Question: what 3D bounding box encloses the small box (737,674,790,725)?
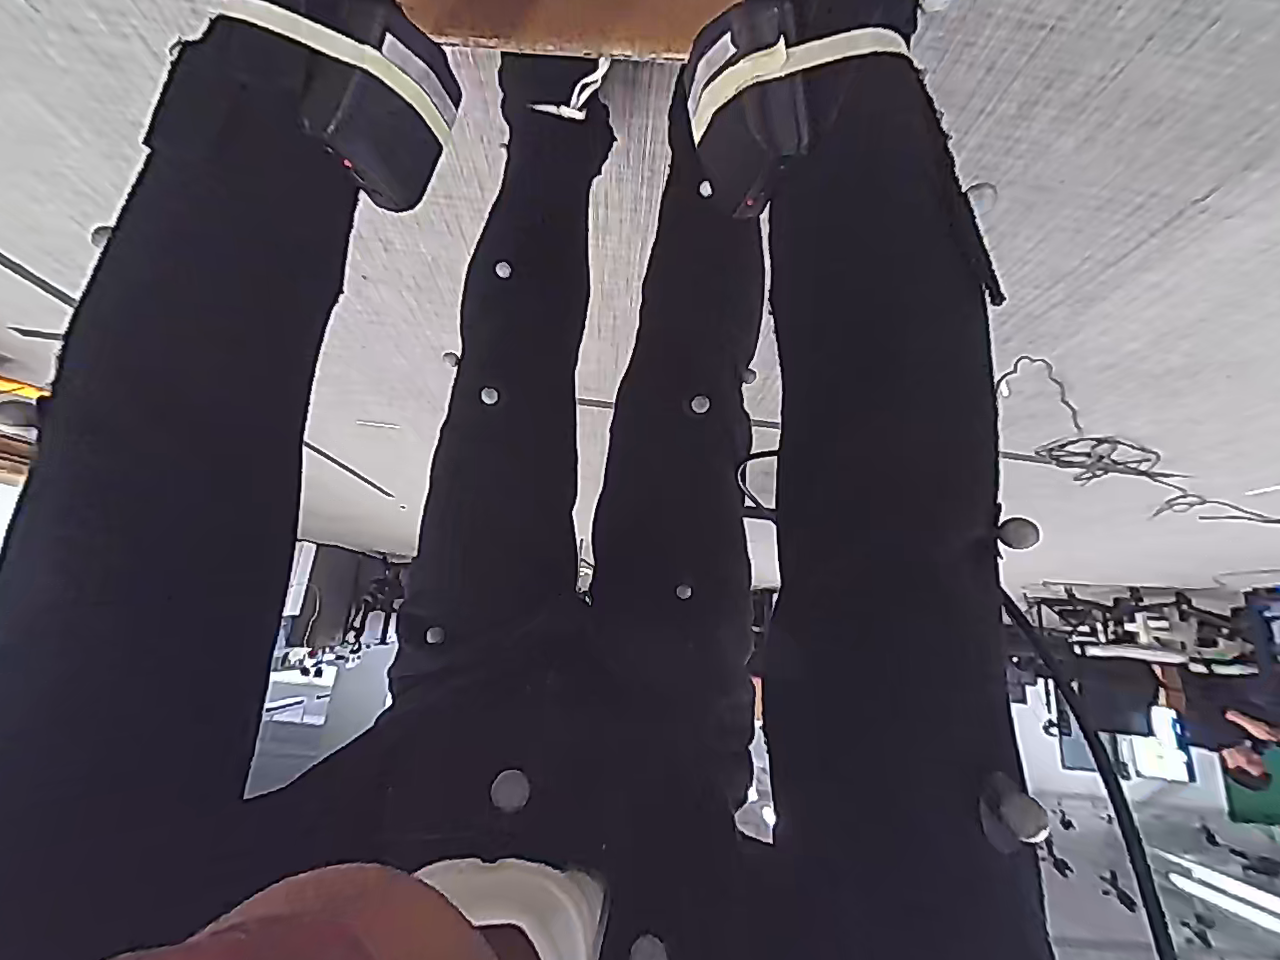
[{"bbox_3d":[0.500,0.878,2.179,0.168,0.176,0.179,7,164,-6],"label":"small box"}]
